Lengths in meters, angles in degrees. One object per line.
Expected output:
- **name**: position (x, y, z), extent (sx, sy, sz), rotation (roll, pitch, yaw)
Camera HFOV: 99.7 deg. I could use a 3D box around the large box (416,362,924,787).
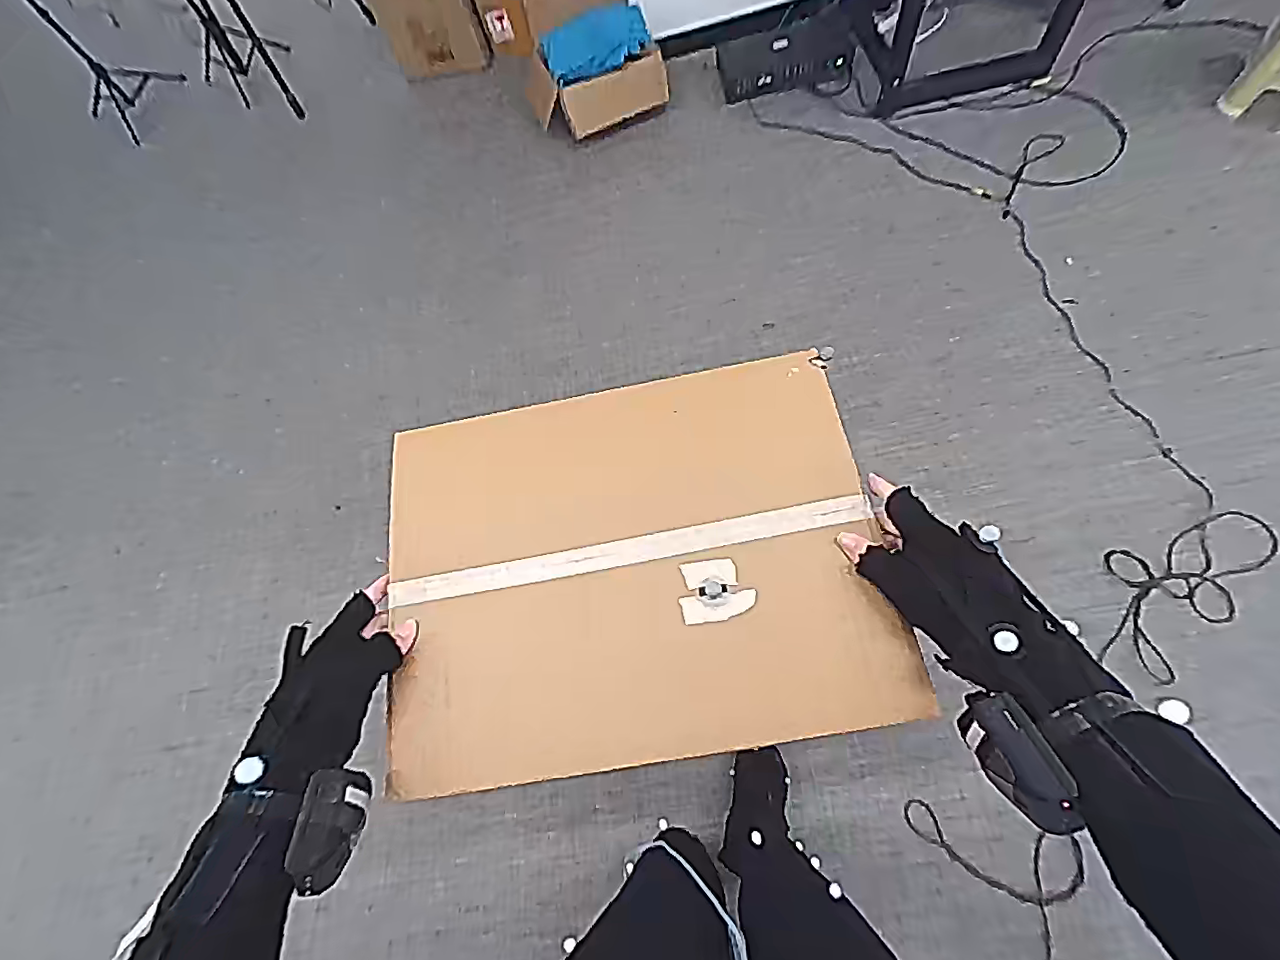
- **large box**: position (0.013, 0.118, 0.606), extent (0.408, 0.320, 0.320), rotation (-11, 68, 3)
